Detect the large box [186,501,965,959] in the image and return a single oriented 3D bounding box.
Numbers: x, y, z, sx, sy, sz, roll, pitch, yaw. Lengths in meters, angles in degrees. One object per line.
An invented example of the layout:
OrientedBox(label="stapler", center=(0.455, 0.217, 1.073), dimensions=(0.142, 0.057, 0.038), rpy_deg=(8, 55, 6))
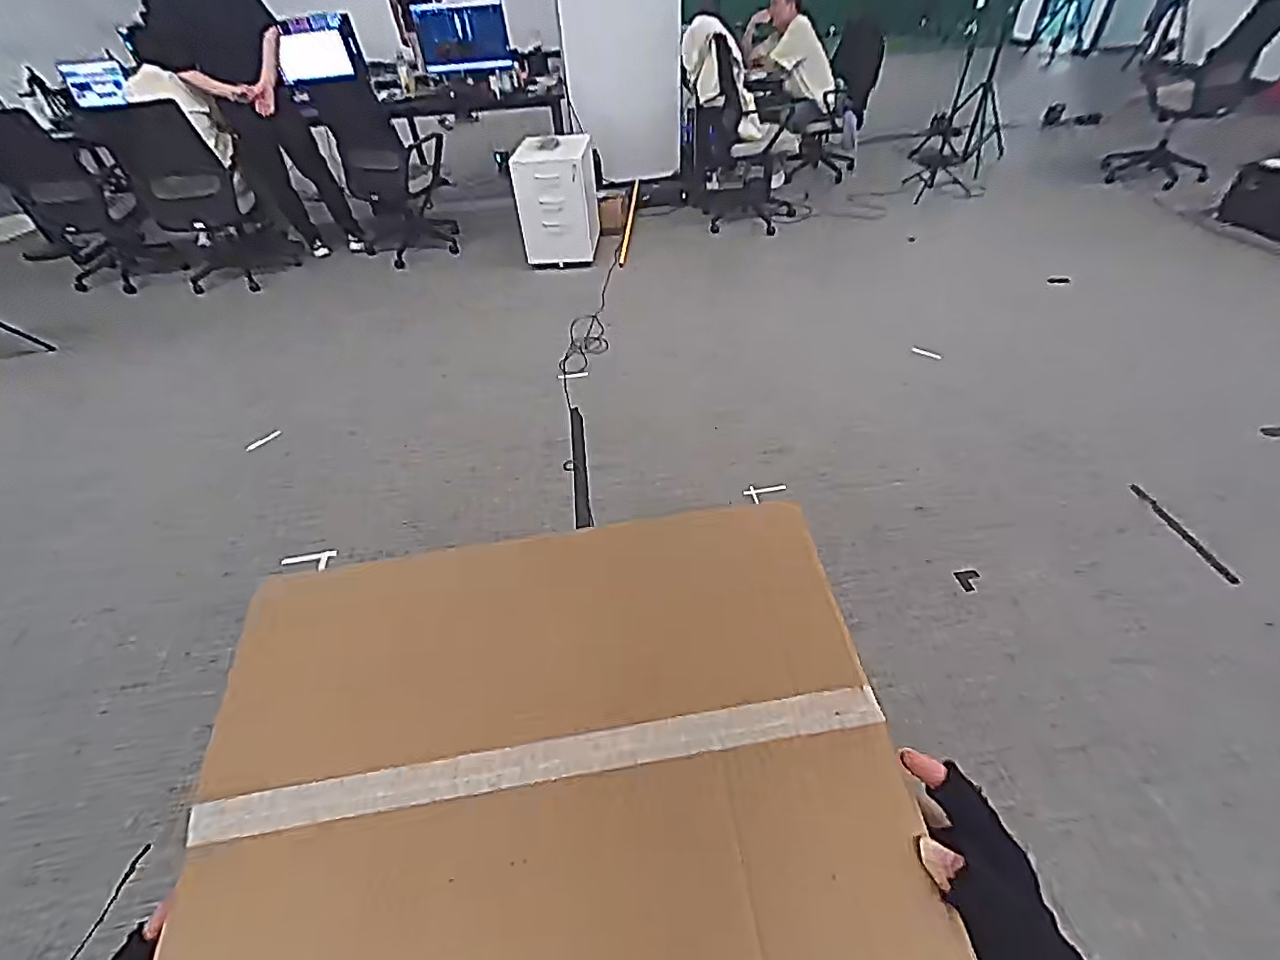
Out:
OrientedBox(label="large box", center=(-0.048, 0.256, 0.455), dimensions=(0.408, 0.320, 0.320), rpy_deg=(-9, 55, -3))
